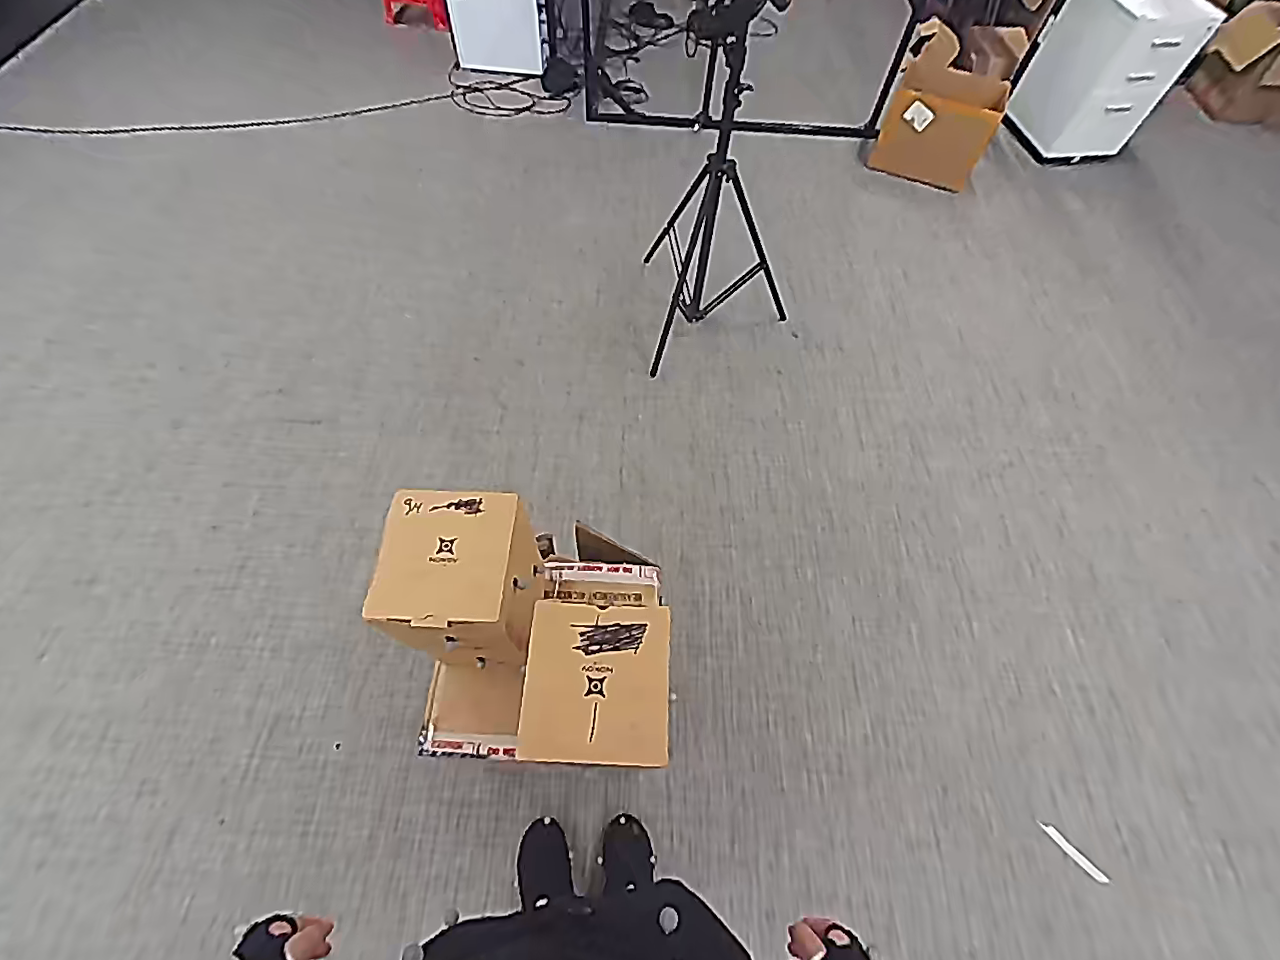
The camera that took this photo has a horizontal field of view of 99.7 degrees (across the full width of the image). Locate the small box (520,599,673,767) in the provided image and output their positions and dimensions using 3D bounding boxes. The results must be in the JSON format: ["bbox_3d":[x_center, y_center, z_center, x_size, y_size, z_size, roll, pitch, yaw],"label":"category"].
[{"bbox_3d":[-0.048,0.264,0.691,0.168,0.176,0.179,2,62,0],"label":"small box"}]

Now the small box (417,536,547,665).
[{"bbox_3d":[-0.252,0.203,0.902,0.168,0.176,0.179,0,62,-1],"label":"small box"}]

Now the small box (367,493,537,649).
[{"bbox_3d":[-0.243,0.133,0.752,0.168,0.176,0.179,1,63,0],"label":"small box"}]
